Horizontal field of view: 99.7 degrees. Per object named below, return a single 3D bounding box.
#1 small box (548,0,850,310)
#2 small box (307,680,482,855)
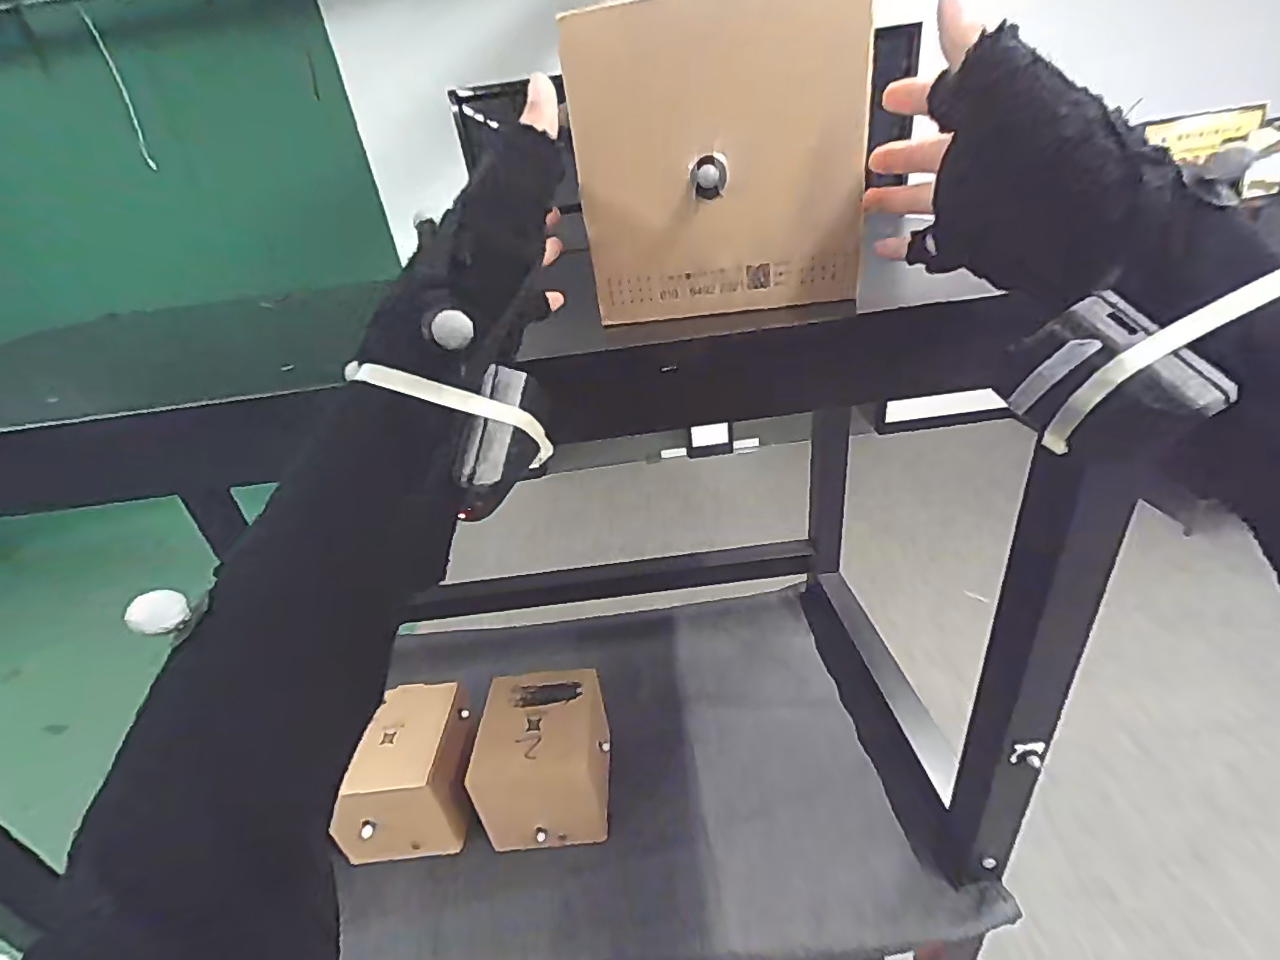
[{"bbox_3d":[0.050,-0.224,0.388,0.168,0.176,0.179,-3,28,9],"label":"small box"},{"bbox_3d":[-0.354,0.439,0.823,0.168,0.176,0.179,-7,27,1],"label":"small box"}]
